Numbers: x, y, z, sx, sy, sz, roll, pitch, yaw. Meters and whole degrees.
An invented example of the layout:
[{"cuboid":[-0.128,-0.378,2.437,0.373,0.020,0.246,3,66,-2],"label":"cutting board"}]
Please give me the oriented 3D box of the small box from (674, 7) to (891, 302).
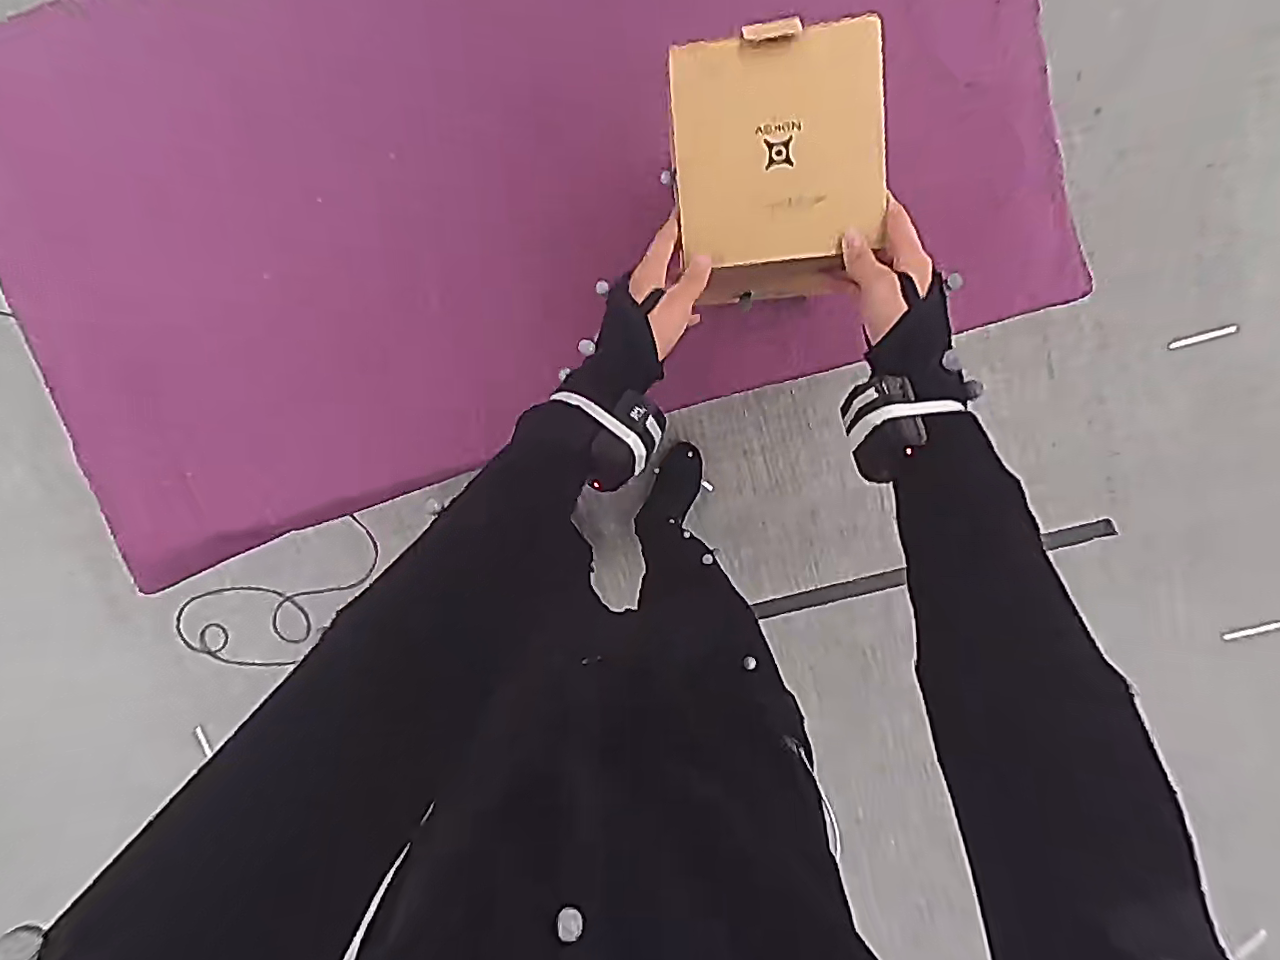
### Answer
[{"cuboid":[0.117,-0.277,0.502,0.168,0.176,0.179,-4,98,5],"label":"small box"}]
